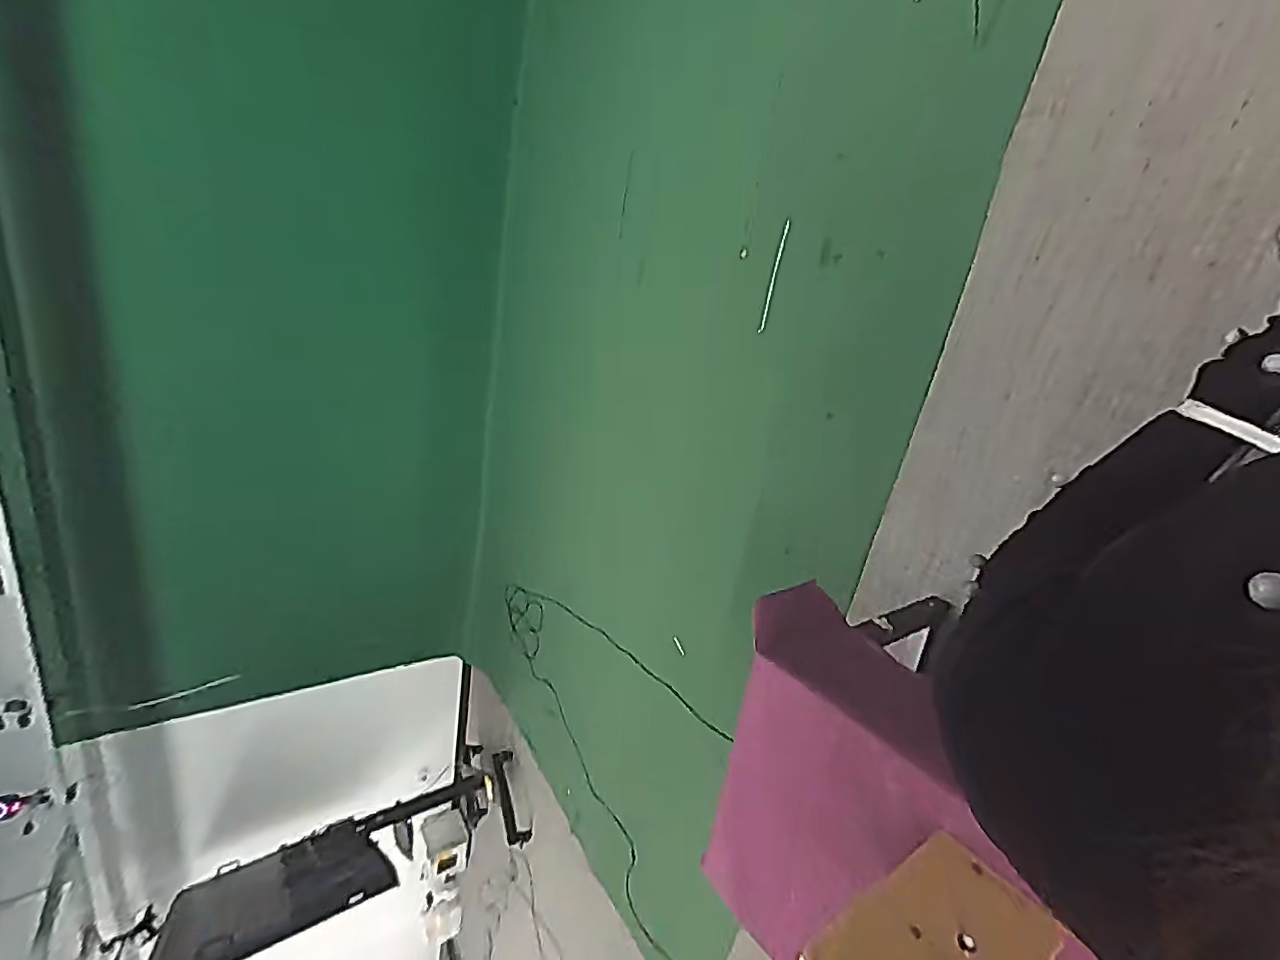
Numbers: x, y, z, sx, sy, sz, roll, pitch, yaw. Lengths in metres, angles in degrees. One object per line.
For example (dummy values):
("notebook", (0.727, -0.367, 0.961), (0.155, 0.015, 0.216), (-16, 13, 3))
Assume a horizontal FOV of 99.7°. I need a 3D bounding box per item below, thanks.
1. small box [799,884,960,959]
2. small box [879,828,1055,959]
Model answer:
("small box", (0.291, 0.640, 0.639), (0.168, 0.176, 0.179), (27, 115, 49))
("small box", (0.424, 0.631, 0.735), (0.168, 0.176, 0.179), (27, 115, 48))
